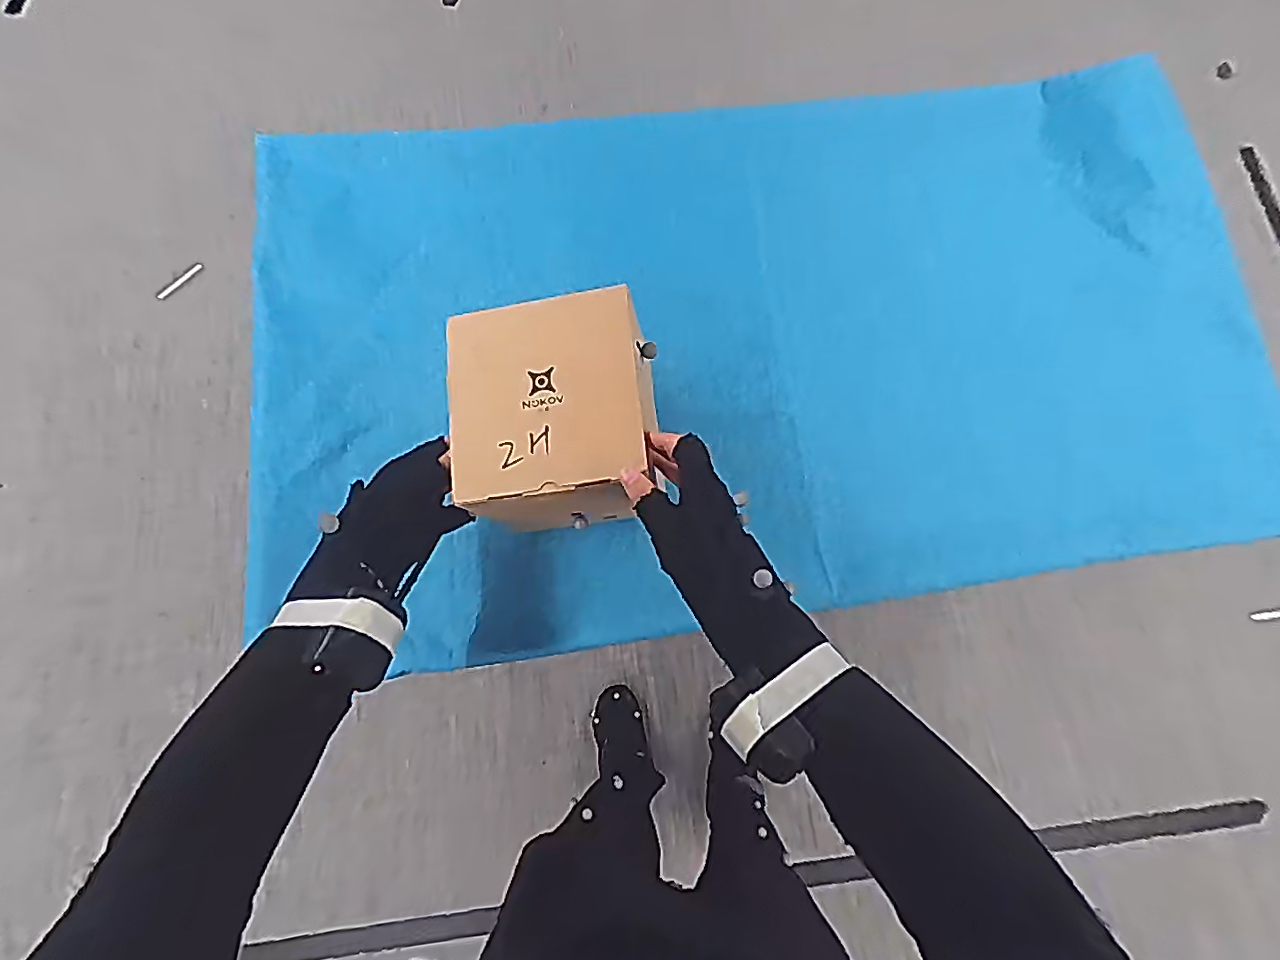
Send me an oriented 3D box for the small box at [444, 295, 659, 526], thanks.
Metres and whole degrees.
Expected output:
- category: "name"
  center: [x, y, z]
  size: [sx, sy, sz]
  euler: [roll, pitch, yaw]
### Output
- category: "small box"
  center: [-0.074, -0.053, 0.532]
  size: [0.168, 0.176, 0.179]
  euler: [-5, 80, 8]
